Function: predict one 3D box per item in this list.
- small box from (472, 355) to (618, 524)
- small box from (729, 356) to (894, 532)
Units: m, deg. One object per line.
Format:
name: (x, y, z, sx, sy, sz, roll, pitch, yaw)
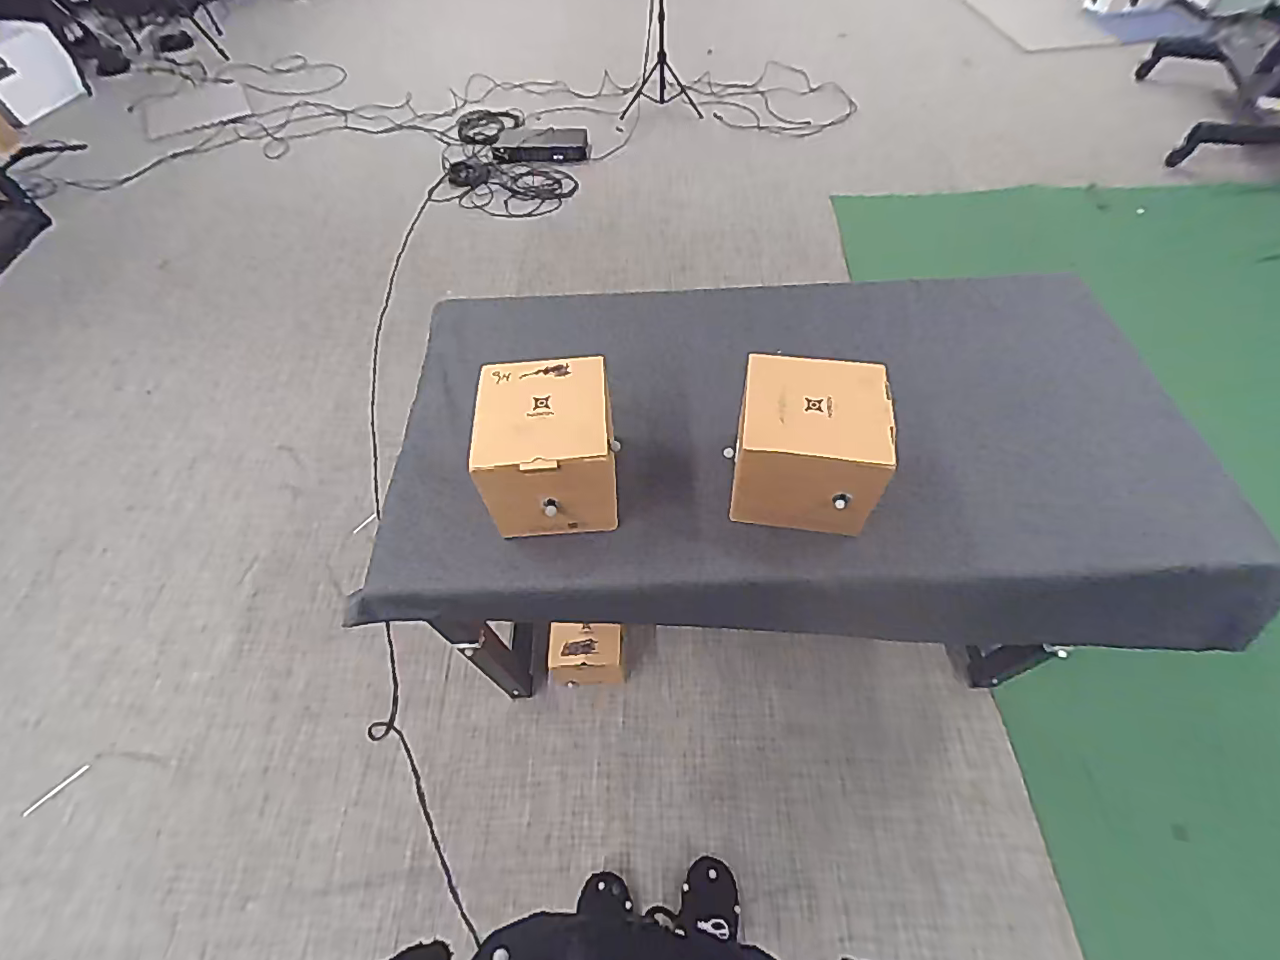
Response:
small box: (-0.119, -0.047, 0.748, 0.168, 0.176, 0.179, -4, 56, -1)
small box: (0.222, -0.044, 0.735, 0.179, 0.176, 0.168, 6, 56, 8)
